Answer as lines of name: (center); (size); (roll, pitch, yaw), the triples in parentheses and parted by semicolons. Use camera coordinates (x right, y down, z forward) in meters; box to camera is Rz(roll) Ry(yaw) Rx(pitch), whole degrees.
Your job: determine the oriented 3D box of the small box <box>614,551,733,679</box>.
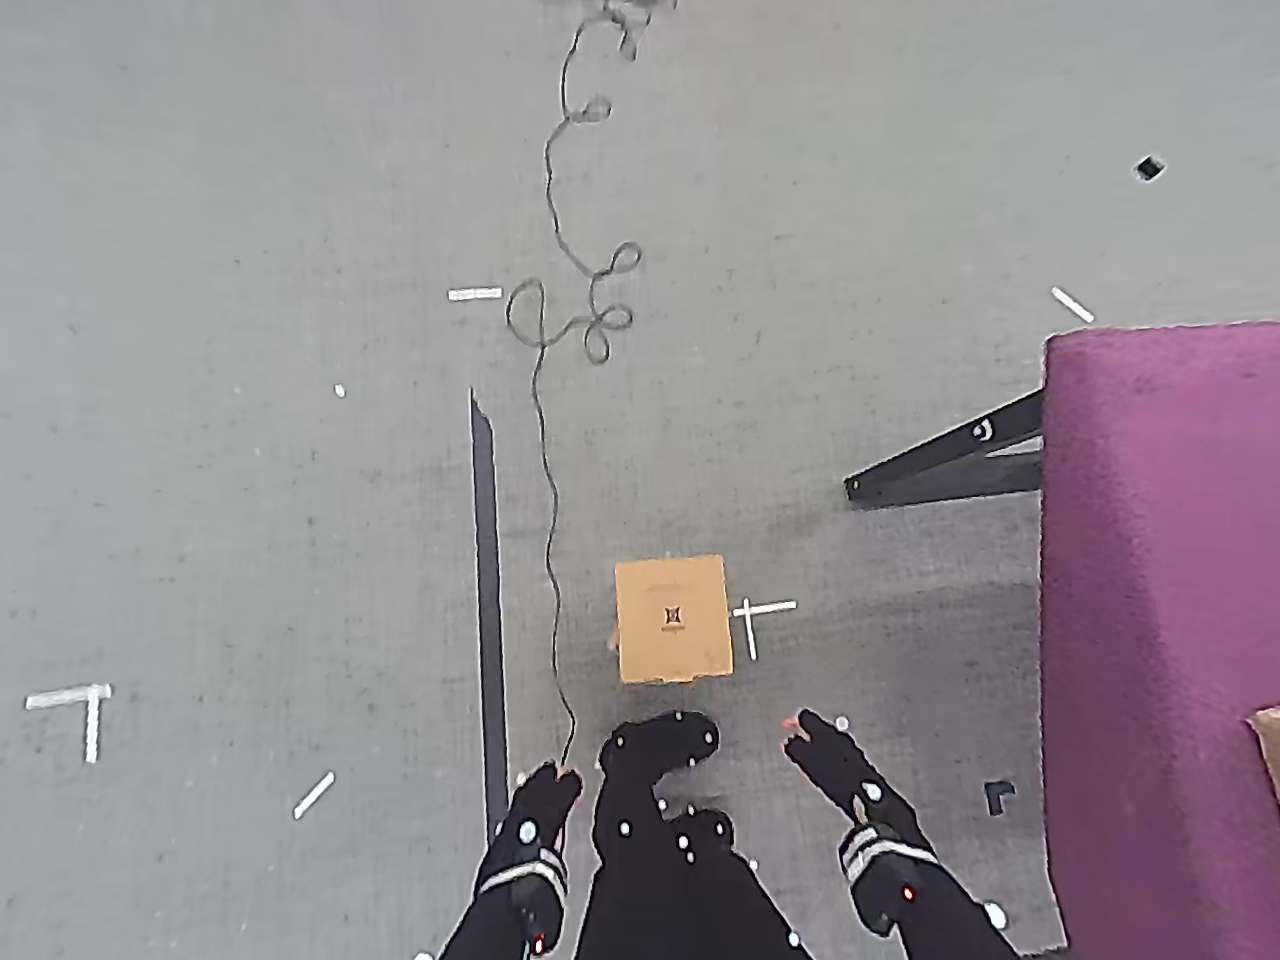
small box: (0.045, 0.209, 0.867); (0.168, 0.176, 0.179); (-4, 79, -4)
